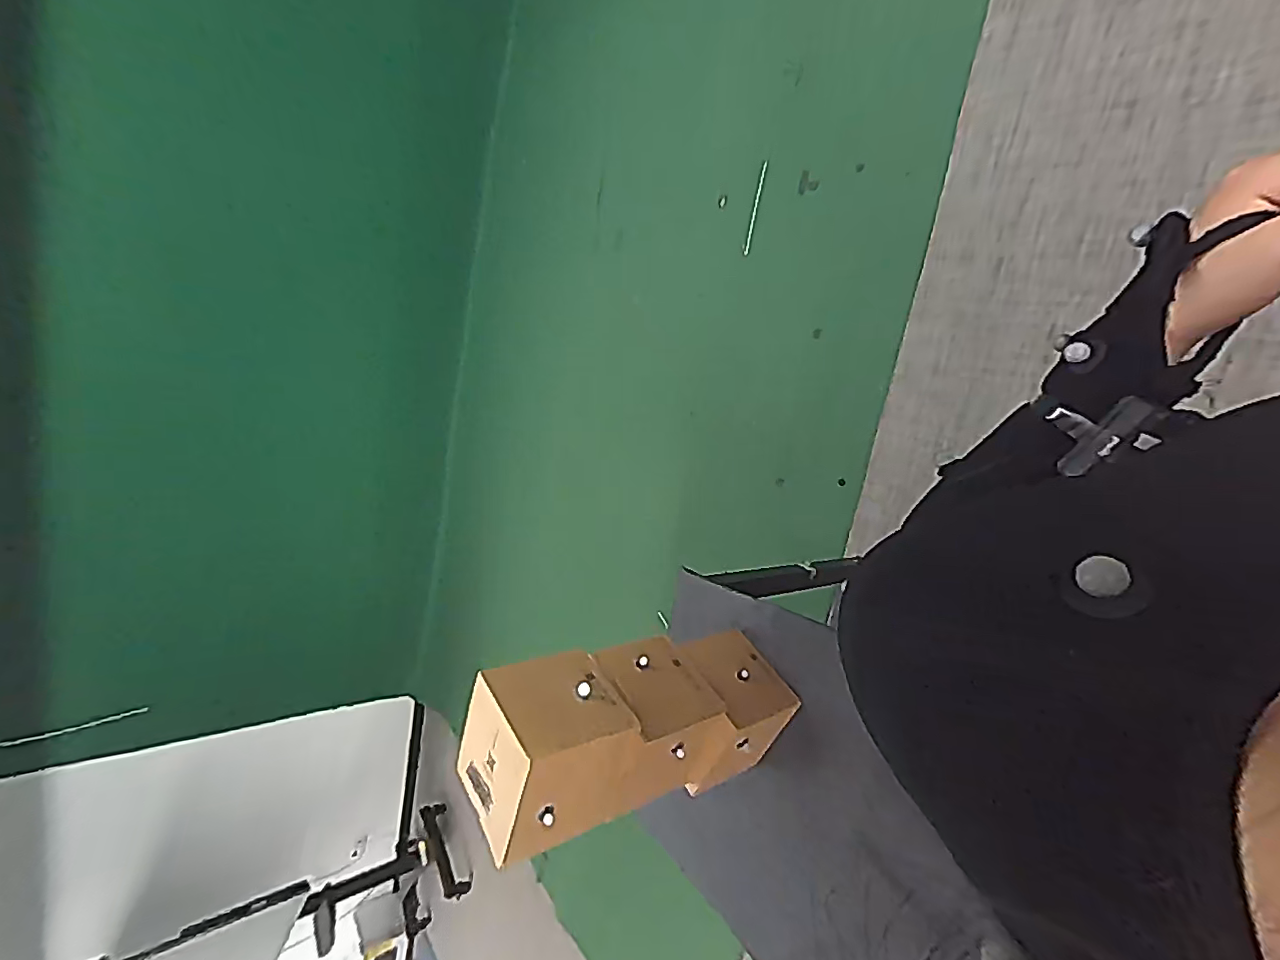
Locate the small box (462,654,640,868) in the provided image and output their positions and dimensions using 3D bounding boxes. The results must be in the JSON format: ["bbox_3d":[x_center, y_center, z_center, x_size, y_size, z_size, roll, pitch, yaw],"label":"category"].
[{"bbox_3d":[-0.123,0.367,0.740,0.168,0.176,0.179,34,114,46],"label":"small box"}]

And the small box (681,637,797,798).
[{"bbox_3d":[0.141,0.397,0.932,0.168,0.176,0.179,47,125,40],"label":"small box"}]

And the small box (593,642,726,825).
[{"bbox_3d":[0.007,0.379,0.840,0.168,0.176,0.179,42,121,44],"label":"small box"}]
